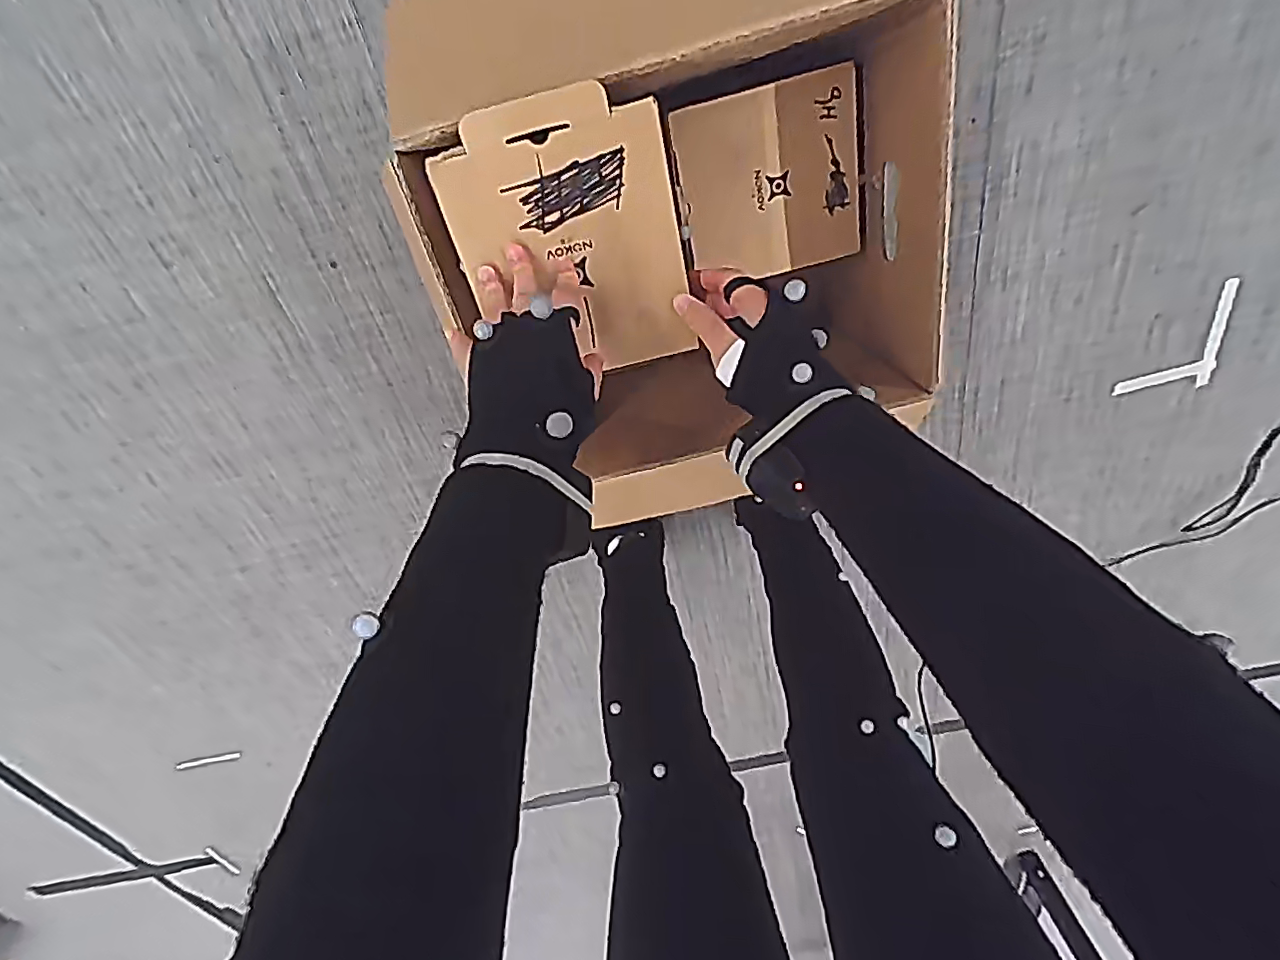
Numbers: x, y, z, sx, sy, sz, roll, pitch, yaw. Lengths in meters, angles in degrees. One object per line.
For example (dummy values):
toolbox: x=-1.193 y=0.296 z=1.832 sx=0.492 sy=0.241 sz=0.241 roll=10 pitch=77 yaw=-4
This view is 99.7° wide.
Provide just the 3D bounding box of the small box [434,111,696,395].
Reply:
small box: x=-0.054 y=-0.201 z=0.483 sx=0.168 sy=0.176 sz=0.179 roll=-12 pitch=121 yaw=5
